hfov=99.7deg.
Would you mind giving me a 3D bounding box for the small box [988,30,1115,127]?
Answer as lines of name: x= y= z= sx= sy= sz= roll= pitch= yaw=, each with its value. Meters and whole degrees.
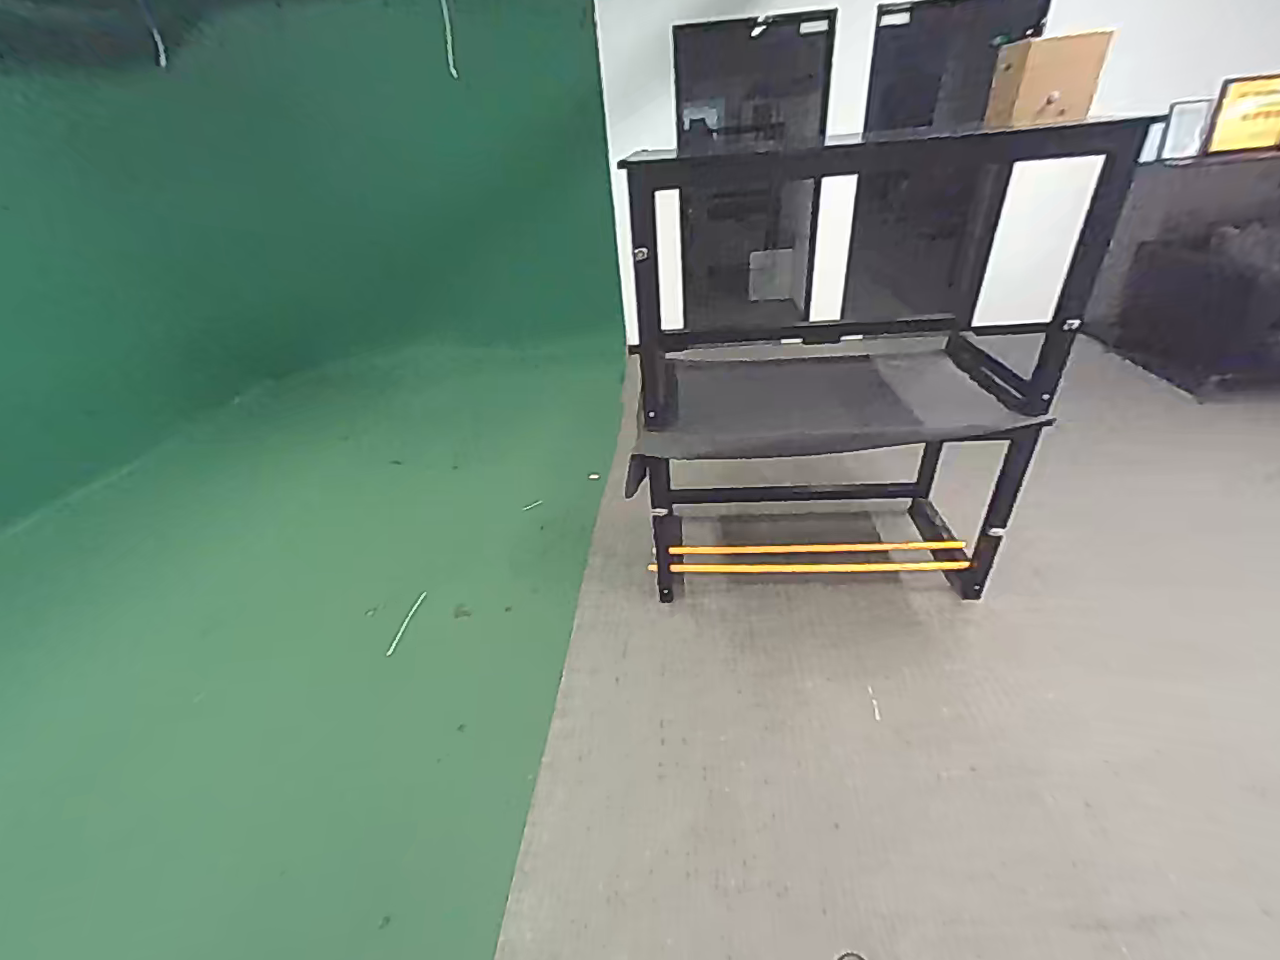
small box: x=0.964 y=-0.947 z=1.289 sx=0.168 sy=0.176 sz=0.179 roll=1 pitch=34 yaw=10
